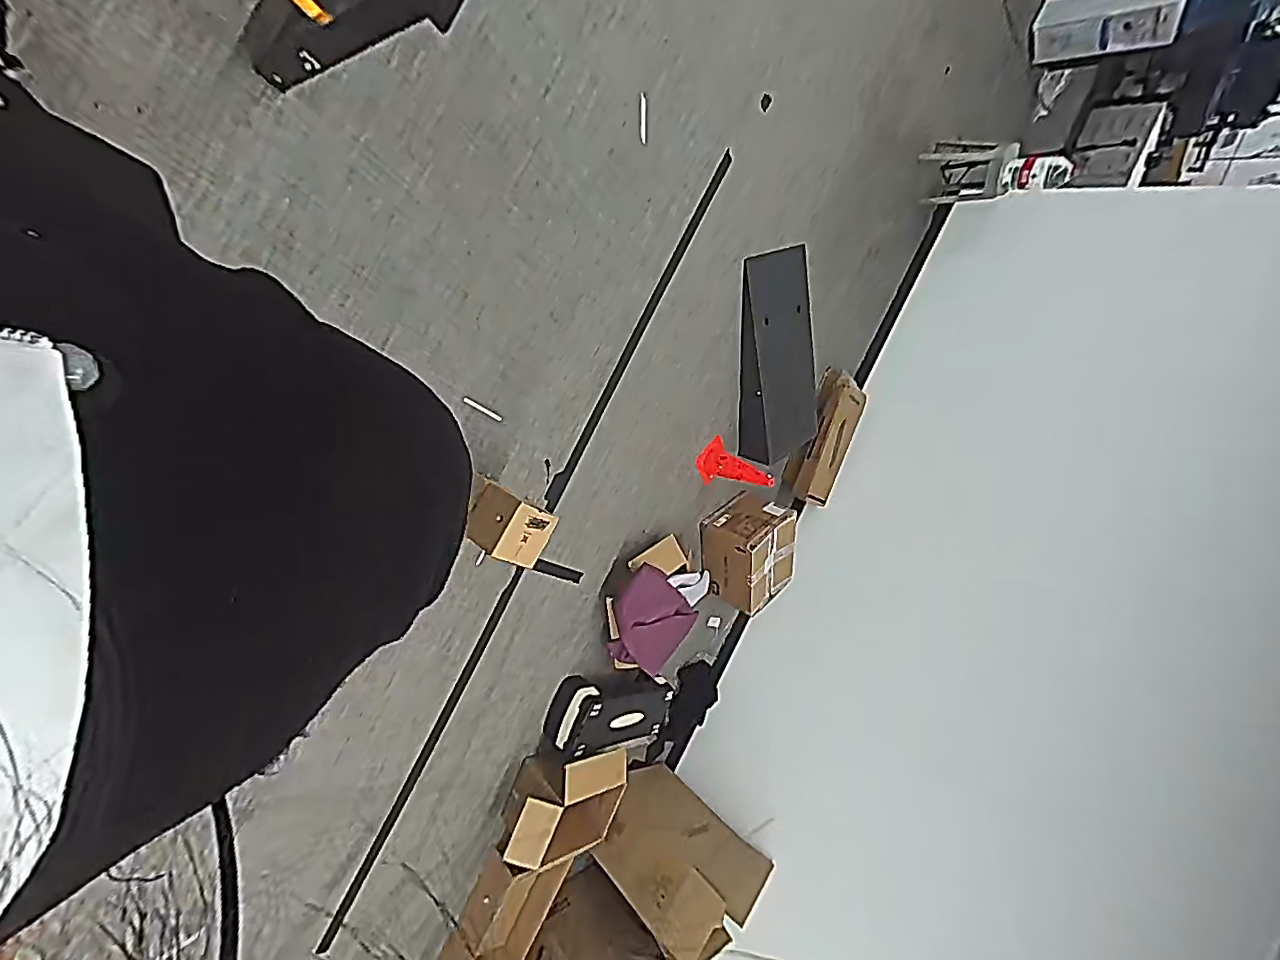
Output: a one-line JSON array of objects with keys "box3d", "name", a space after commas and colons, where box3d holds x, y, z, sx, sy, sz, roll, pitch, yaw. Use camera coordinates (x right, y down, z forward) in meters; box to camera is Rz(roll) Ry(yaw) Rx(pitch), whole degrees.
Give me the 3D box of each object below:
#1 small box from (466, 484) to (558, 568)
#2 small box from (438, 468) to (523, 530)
[{"box3d": [-0.383, 0.134, 1.606, 0.168, 0.176, 0.179, 33, 84, -51], "name": "small box"}, {"box3d": [-0.502, 0.076, 1.706, 0.179, 0.176, 0.168, 33, 83, -50], "name": "small box"}]
